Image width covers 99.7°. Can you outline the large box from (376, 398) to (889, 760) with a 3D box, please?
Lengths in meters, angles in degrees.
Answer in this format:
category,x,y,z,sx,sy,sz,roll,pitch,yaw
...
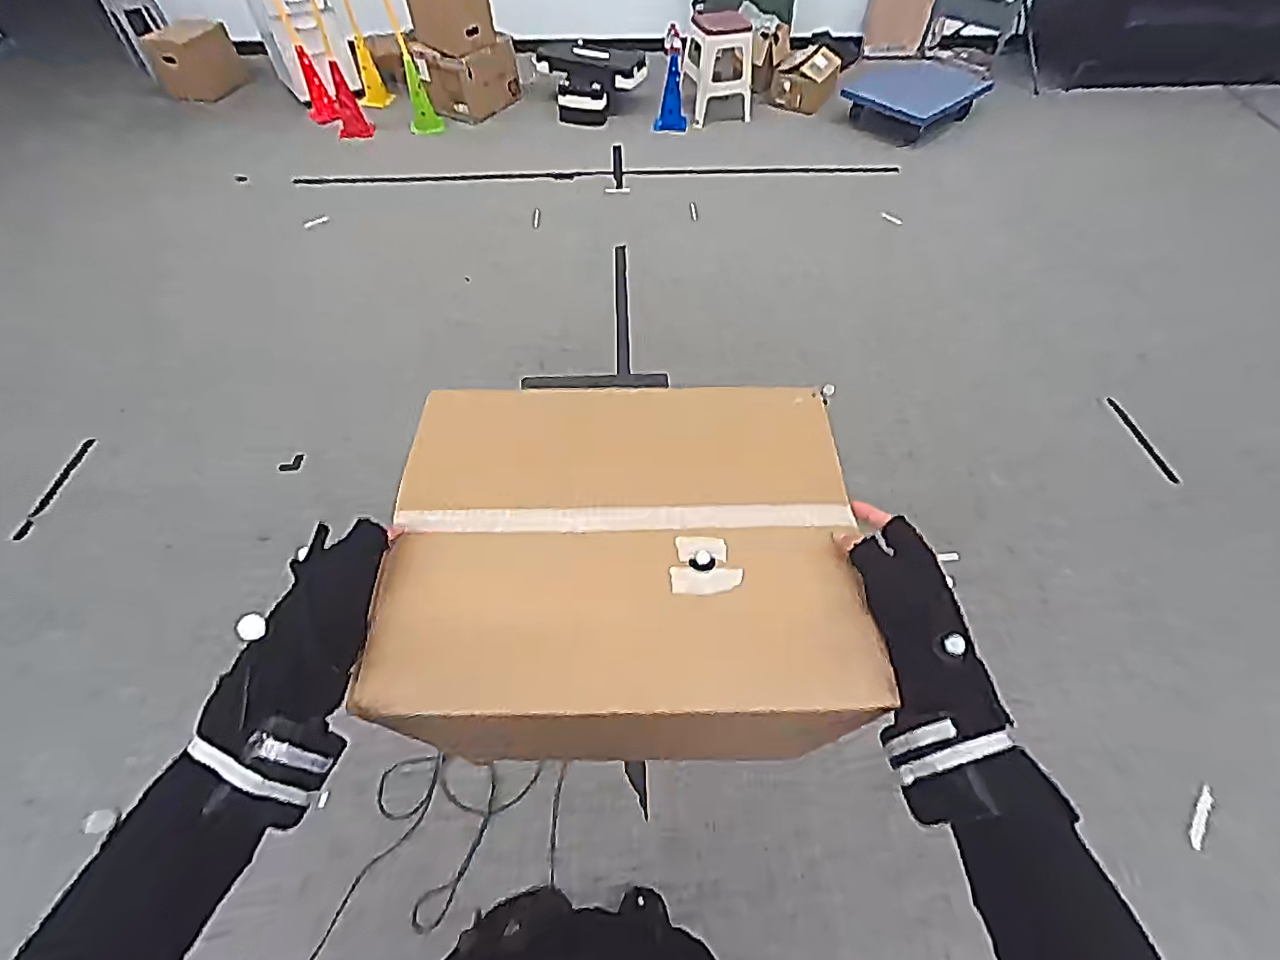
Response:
category,x,y,z,sx,sy,sz,roll,pitch,yaw
large box,-0.009,0.124,0.617,0.408,0.320,0.320,0,57,0
